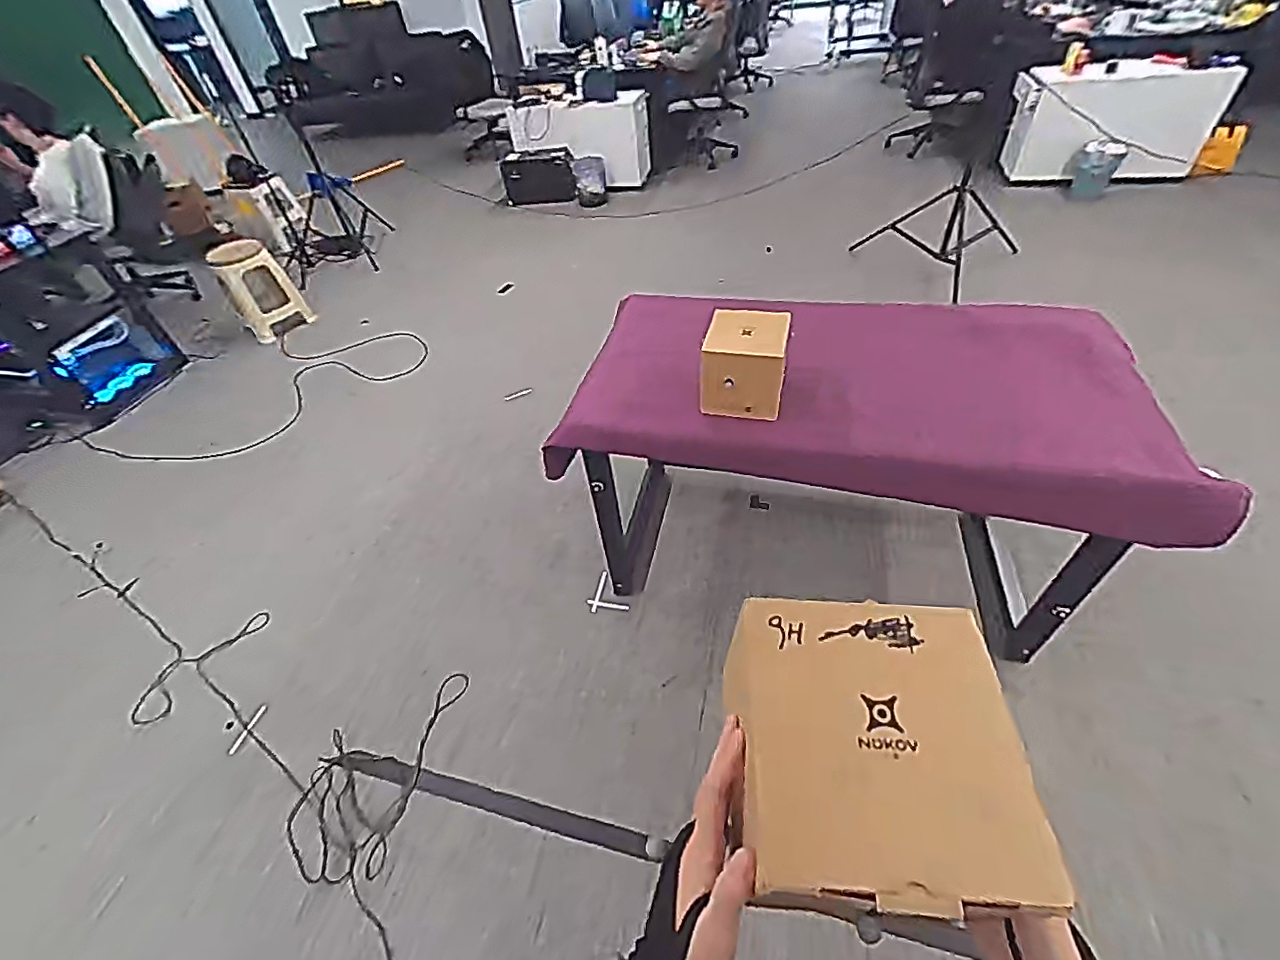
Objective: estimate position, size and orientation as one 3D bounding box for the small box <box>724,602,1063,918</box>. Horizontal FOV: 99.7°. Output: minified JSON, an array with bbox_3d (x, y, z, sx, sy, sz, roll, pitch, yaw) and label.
[{"bbox_3d":[0.155,0.212,0.408,0.168,0.176,0.179,2,50,3],"label":"small box"}]

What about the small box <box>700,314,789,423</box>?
[{"bbox_3d":[0.231,-0.245,1.194,0.168,0.176,0.179,8,46,14],"label":"small box"}]
